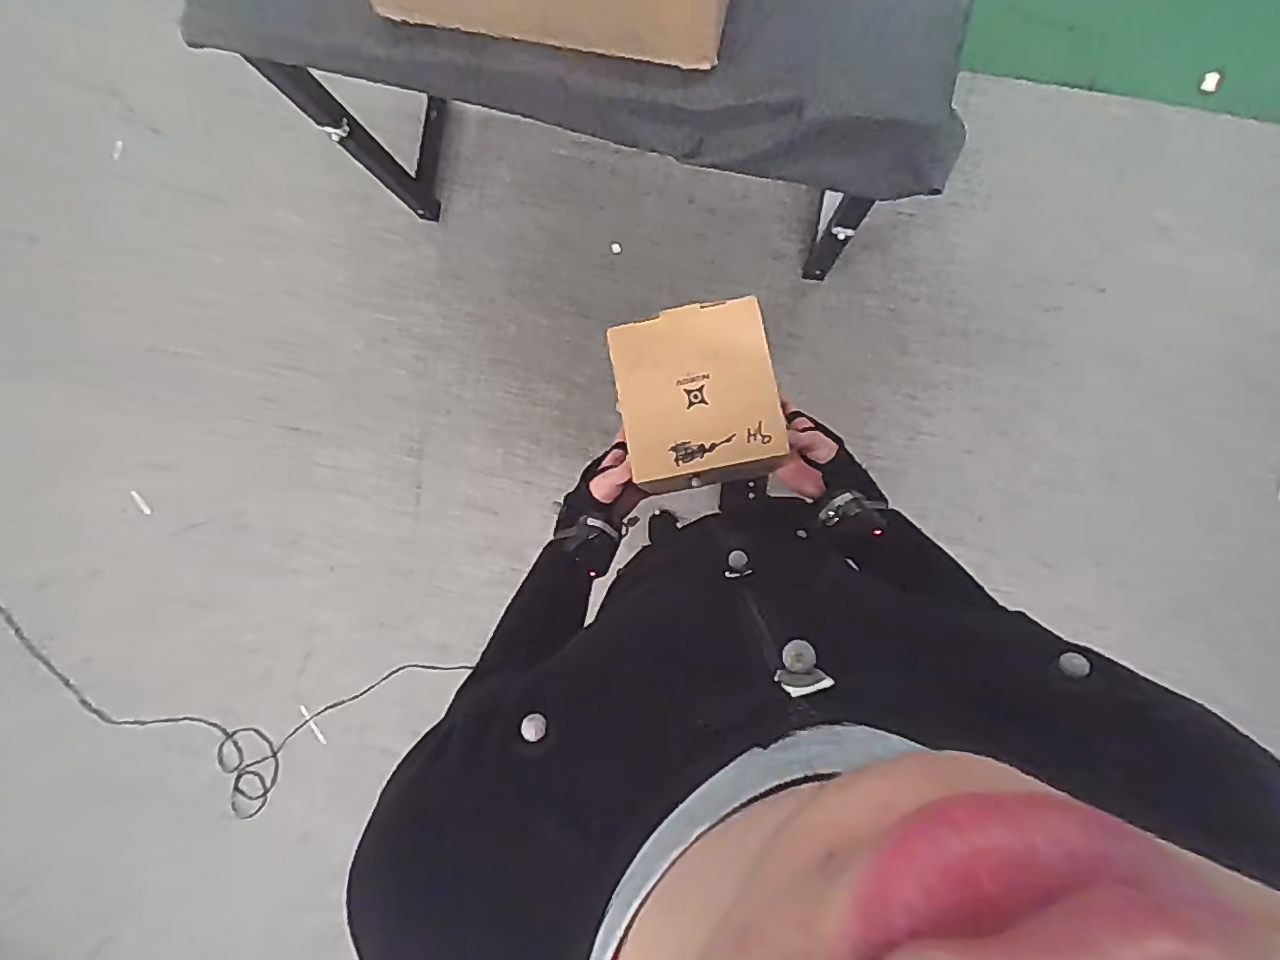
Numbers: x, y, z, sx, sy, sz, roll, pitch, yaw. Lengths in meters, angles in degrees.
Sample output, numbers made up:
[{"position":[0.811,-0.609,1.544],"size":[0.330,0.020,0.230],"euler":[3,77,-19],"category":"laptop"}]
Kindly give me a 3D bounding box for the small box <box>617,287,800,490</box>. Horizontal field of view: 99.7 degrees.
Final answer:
[{"position":[0.078,-0.095,0.643],"size":[0.168,0.176,0.179],"euler":[-12,82,7],"category":"small box"}]
